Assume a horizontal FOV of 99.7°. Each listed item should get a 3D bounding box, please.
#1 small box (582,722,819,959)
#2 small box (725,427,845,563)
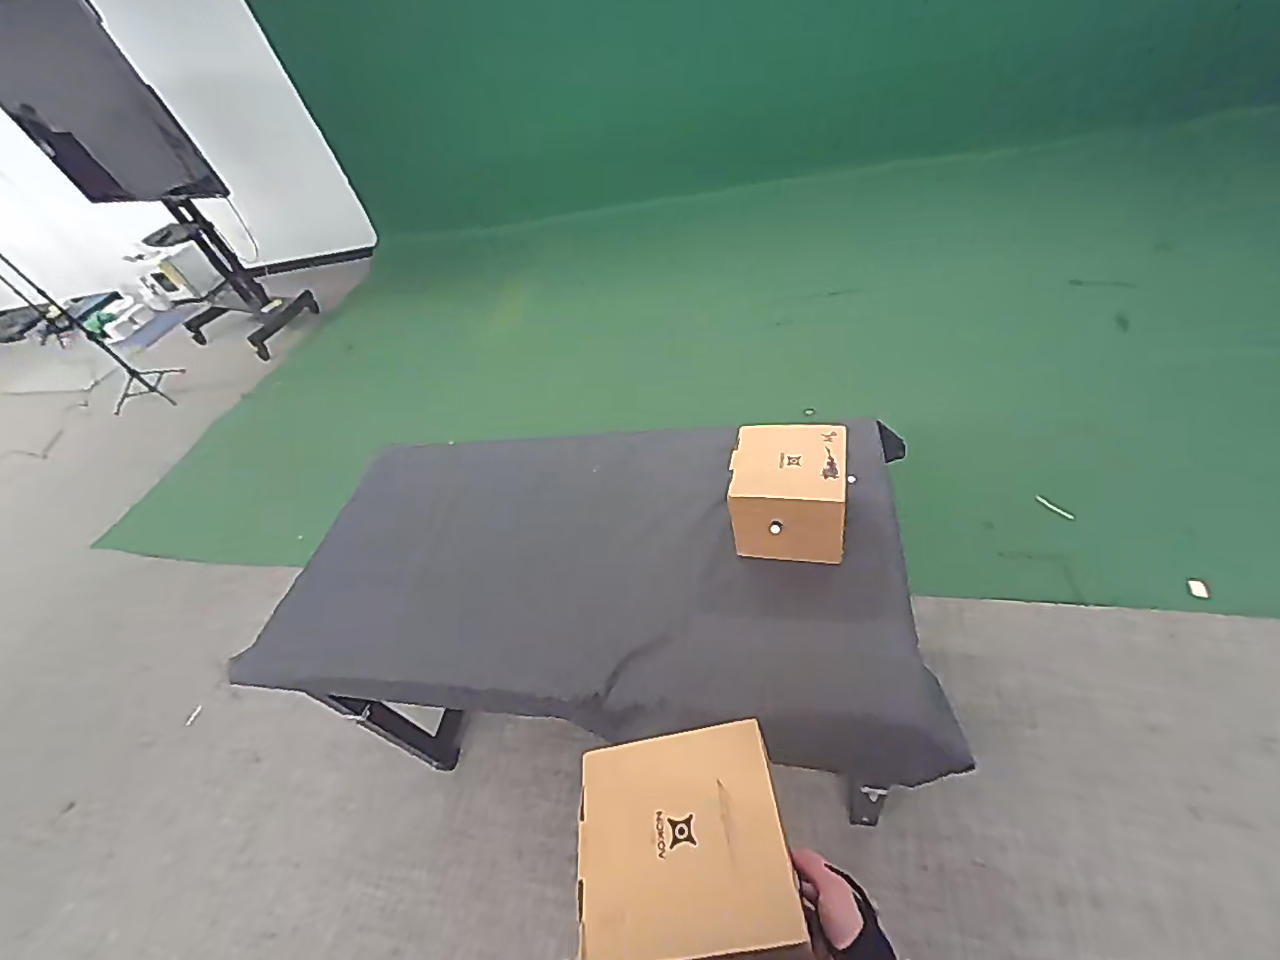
[{"bbox_3d":[0.055,0.358,0.507,0.179,0.176,0.168,-14,40,6],"label":"small box"},{"bbox_3d":[0.255,0.027,0.924,0.179,0.176,0.168,1,50,20],"label":"small box"}]
